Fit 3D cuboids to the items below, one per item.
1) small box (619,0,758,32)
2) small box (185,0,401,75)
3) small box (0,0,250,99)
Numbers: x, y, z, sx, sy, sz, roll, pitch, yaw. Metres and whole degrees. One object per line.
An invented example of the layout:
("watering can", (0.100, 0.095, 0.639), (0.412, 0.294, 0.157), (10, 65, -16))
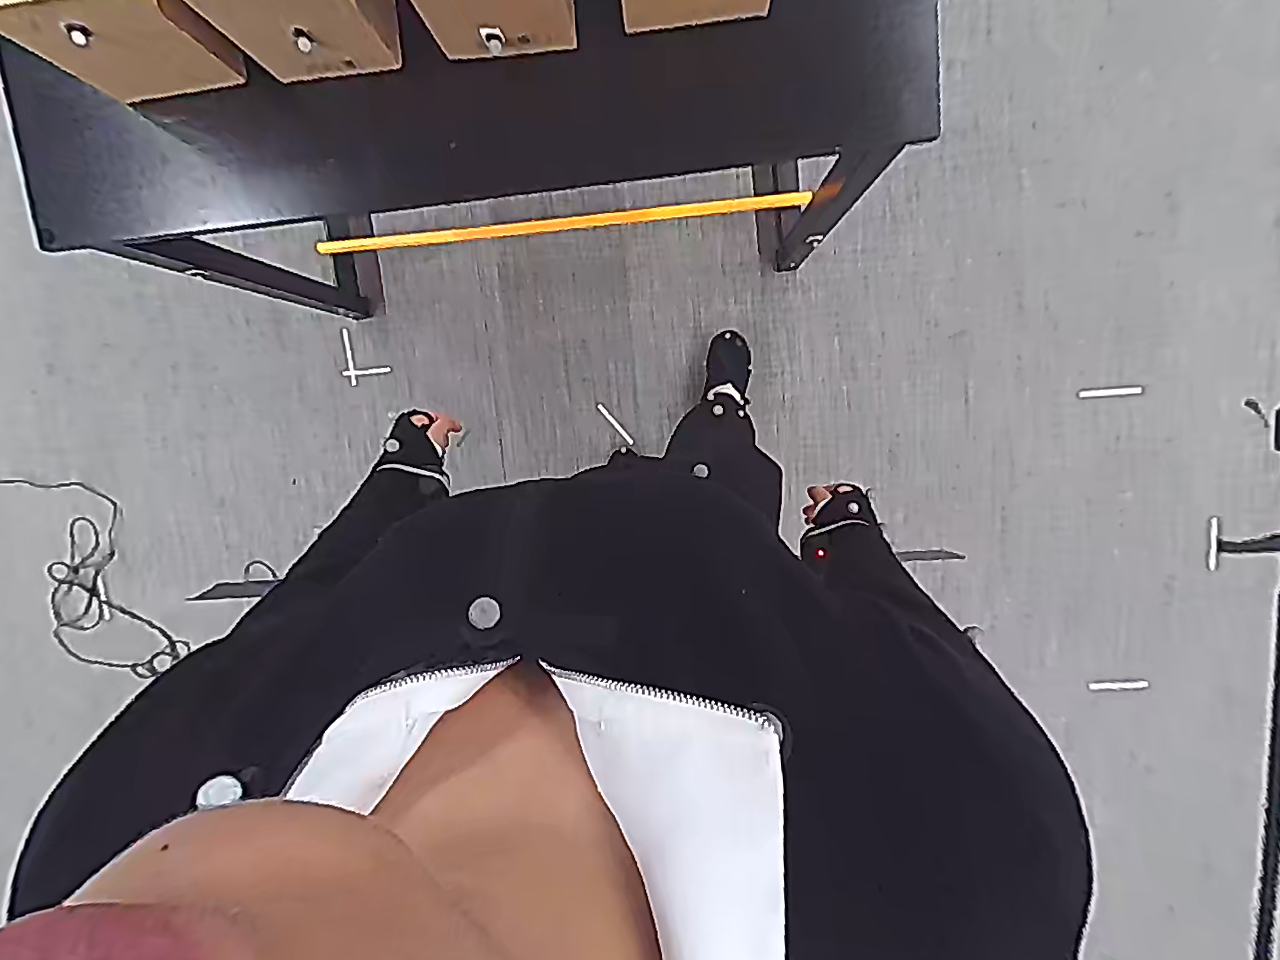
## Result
("small box", (0.057, -0.632, 0.581), (0.179, 0.176, 0.168), (-4, 97, 4))
("small box", (-0.393, -0.597, 0.612), (0.168, 0.176, 0.179), (-4, 98, 4))
("small box", (-0.607, -0.580, 0.626), (0.179, 0.176, 0.168), (-7, 97, 3))
